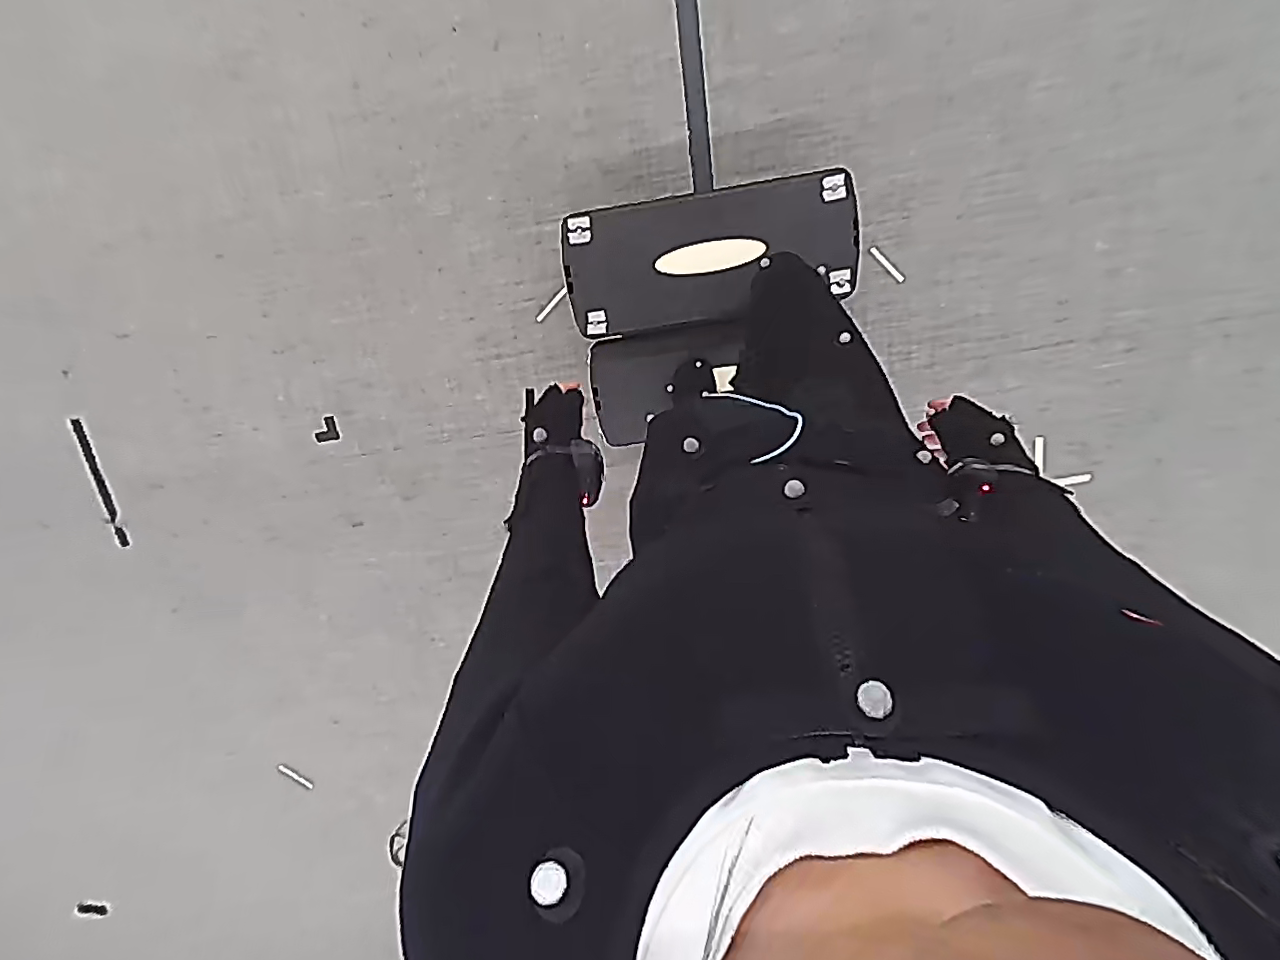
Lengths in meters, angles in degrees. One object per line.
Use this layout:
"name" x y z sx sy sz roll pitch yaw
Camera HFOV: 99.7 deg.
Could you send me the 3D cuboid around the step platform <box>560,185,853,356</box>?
"step platform" 0.152 -0.496 1.312 0.684 0.204 0.286 -9 106 3
